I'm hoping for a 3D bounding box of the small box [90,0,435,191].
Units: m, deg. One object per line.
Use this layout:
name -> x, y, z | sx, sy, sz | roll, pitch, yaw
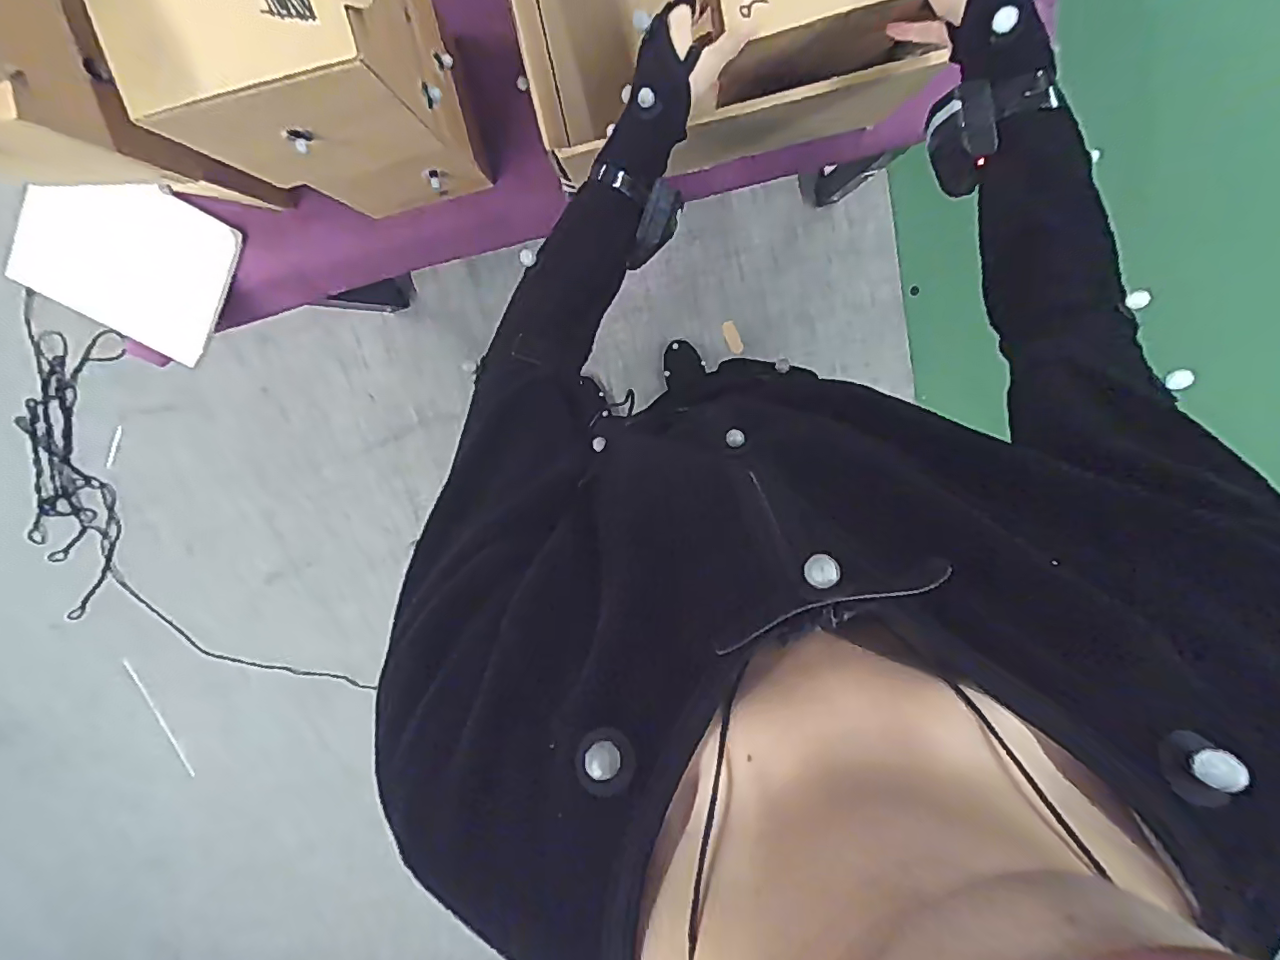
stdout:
small box -> -0.288, -0.362, 0.439 | 0.179, 0.176, 0.168 | -13, 102, 4
